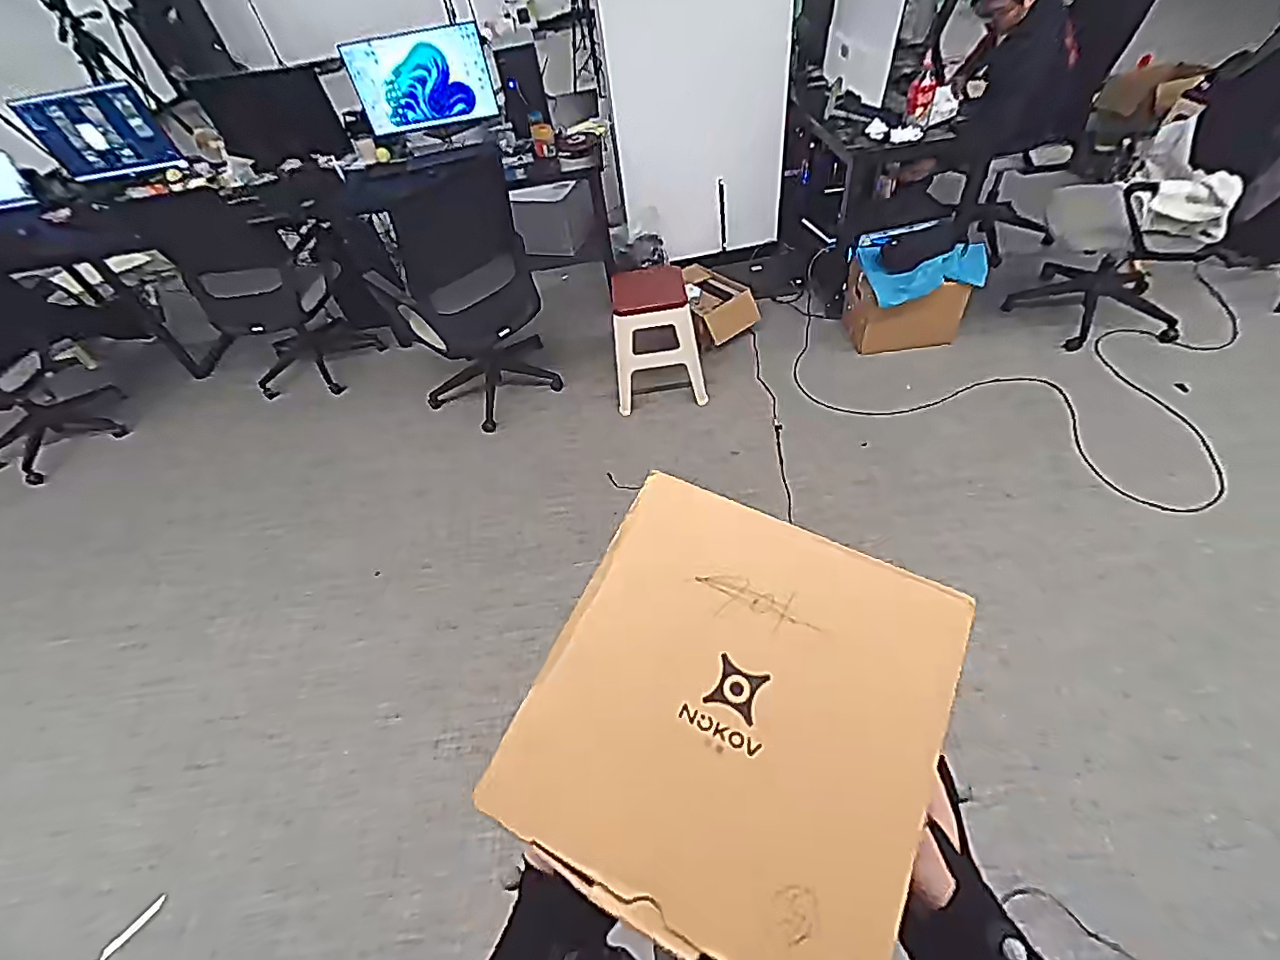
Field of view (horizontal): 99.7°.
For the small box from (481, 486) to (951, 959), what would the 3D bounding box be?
[{"bbox_3d":[0.045,0.138,0.316,0.168,0.176,0.179,22,65,15],"label":"small box"}]
